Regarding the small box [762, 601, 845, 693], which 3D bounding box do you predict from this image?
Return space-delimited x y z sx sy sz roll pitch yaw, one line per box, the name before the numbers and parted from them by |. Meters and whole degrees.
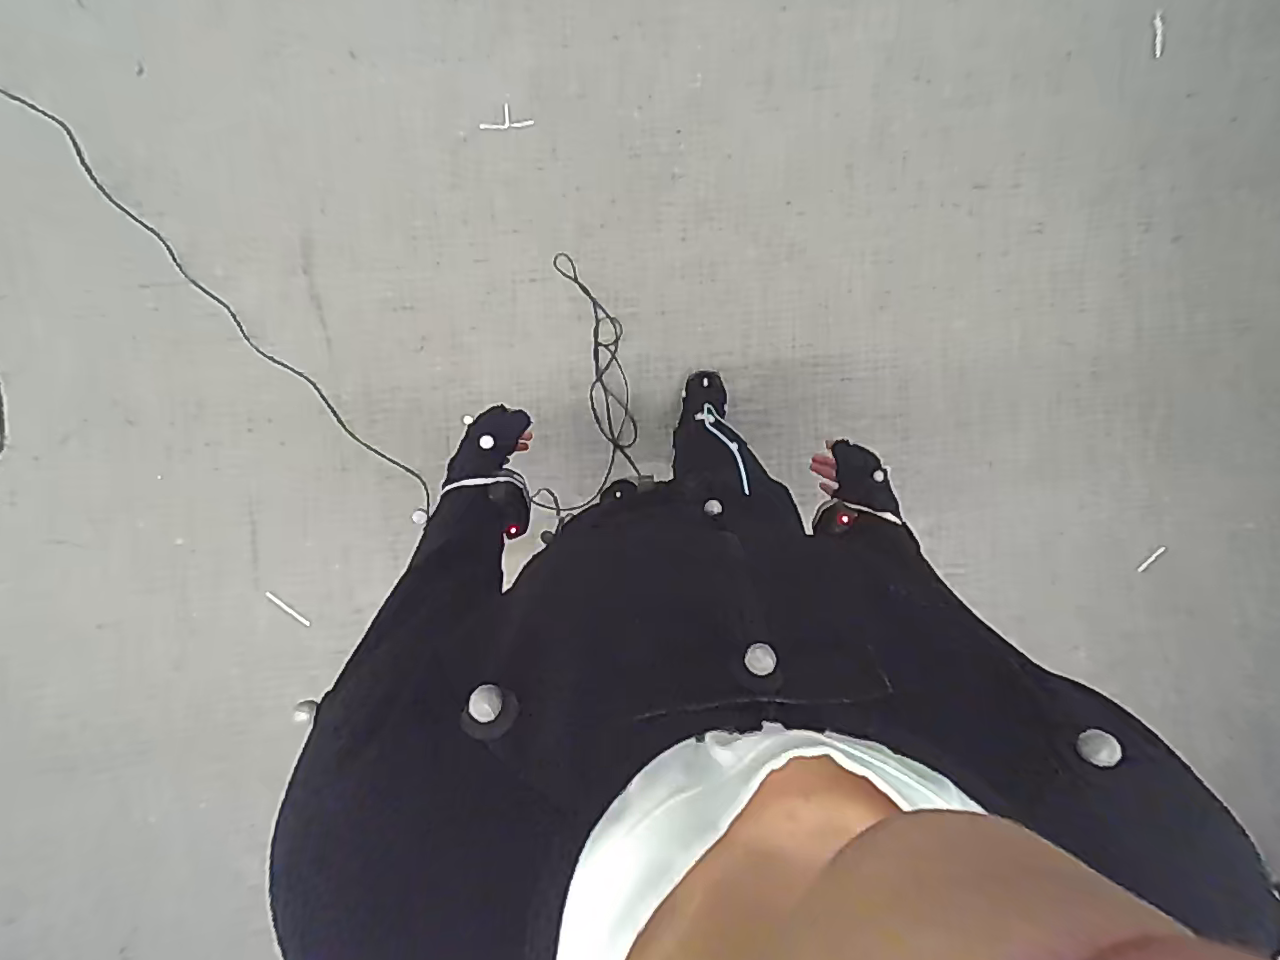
small box | 0.429 0.430 1.413 0.179 0.176 0.168 -10 94 -2
